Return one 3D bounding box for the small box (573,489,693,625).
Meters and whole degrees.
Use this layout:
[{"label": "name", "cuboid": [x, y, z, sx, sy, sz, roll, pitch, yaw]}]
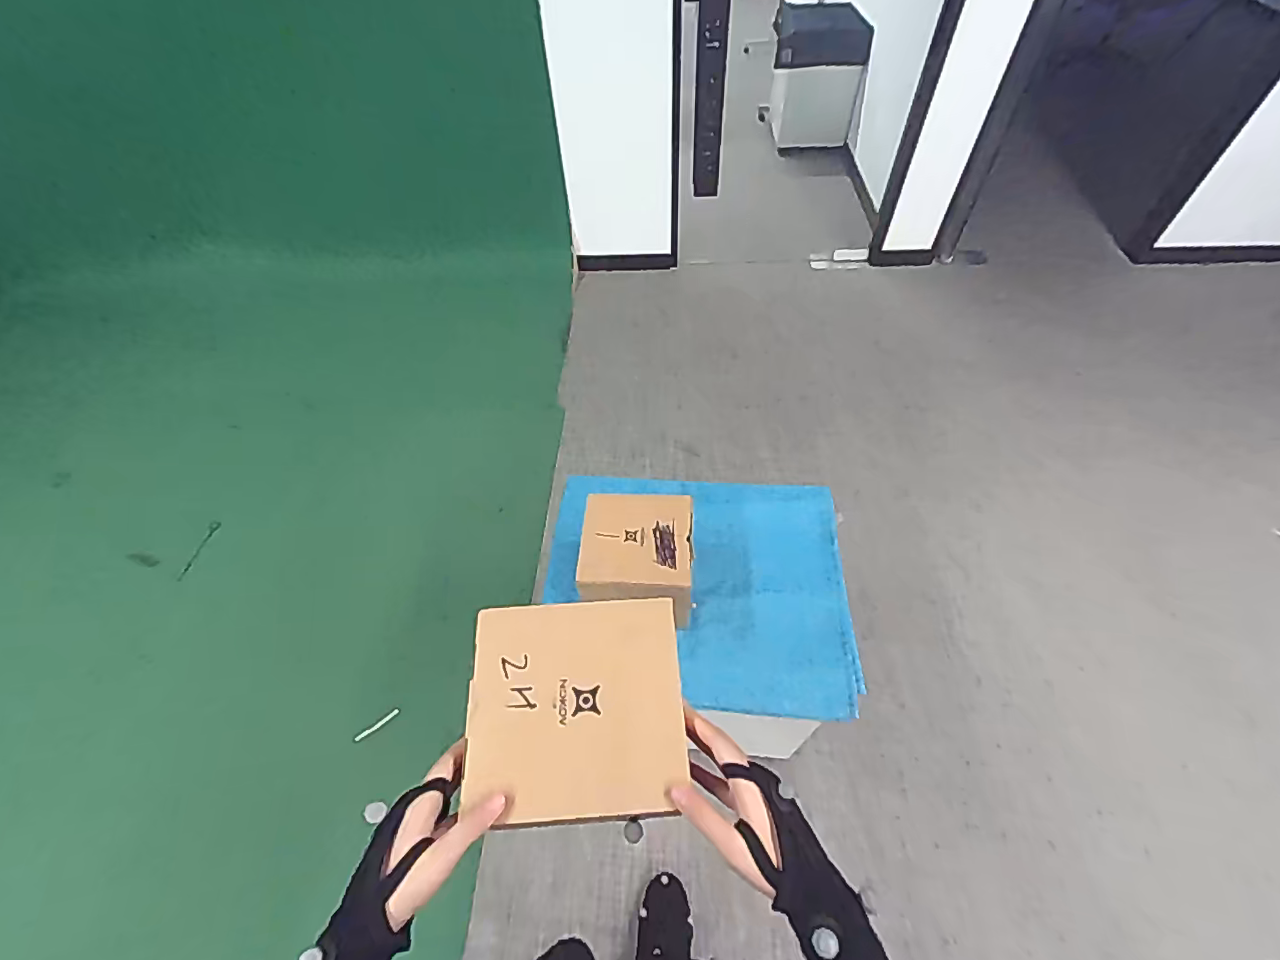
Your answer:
[{"label": "small box", "cuboid": [-0.004, 0.133, 0.905, 0.179, 0.176, 0.168, 2, 52, 5]}]
